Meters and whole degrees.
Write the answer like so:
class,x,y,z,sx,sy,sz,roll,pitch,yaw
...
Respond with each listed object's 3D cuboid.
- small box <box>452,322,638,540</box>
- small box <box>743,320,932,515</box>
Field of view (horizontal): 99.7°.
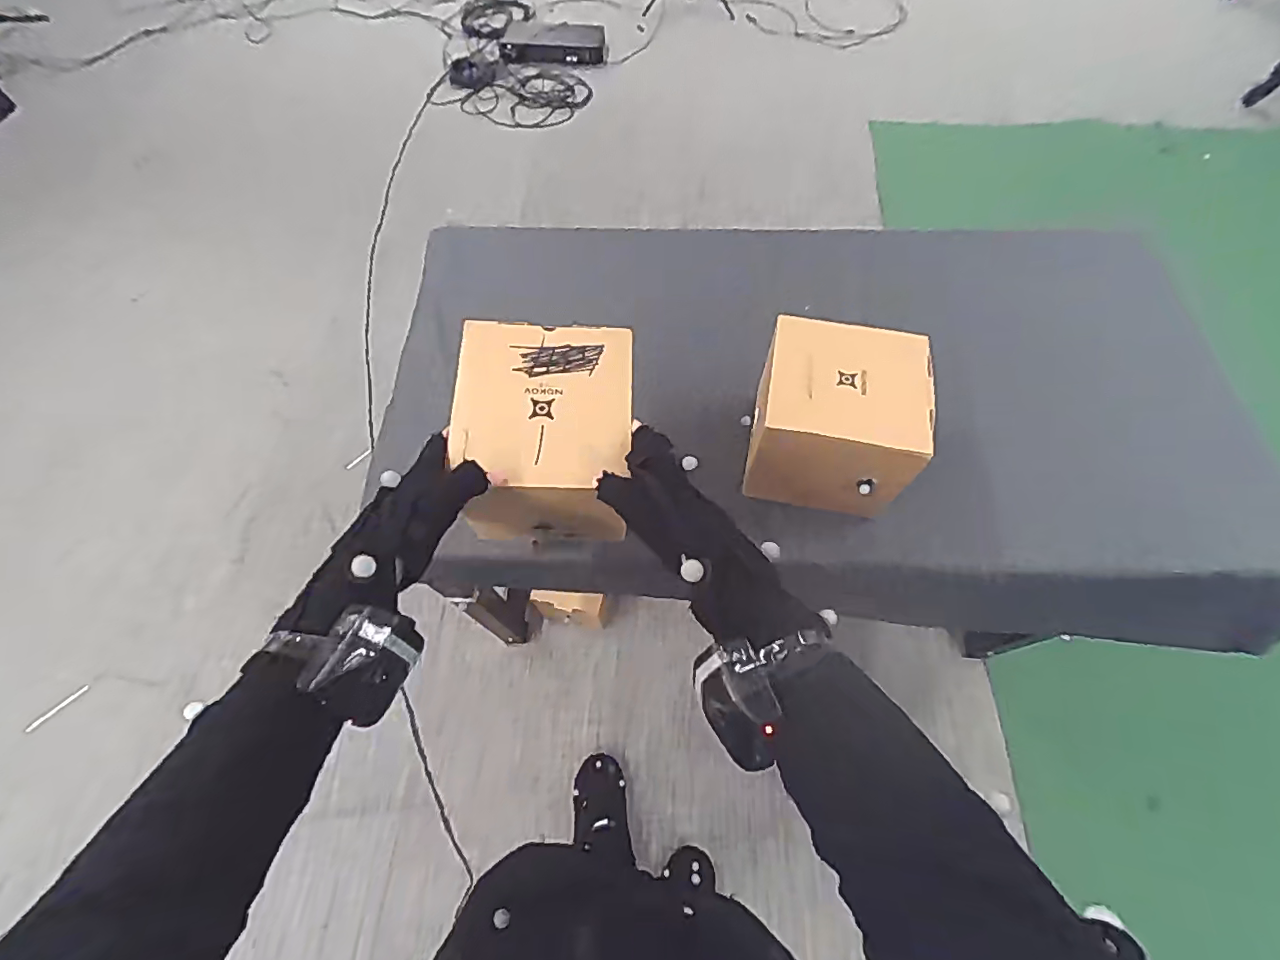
class,x,y,z,sx,sy,sz,roll,pitch,yaw
small box,-0.091,-0.044,0.584,0.168,0.176,0.179,1,67,-4
small box,0.236,-0.070,0.675,0.179,0.176,0.168,9,62,7
